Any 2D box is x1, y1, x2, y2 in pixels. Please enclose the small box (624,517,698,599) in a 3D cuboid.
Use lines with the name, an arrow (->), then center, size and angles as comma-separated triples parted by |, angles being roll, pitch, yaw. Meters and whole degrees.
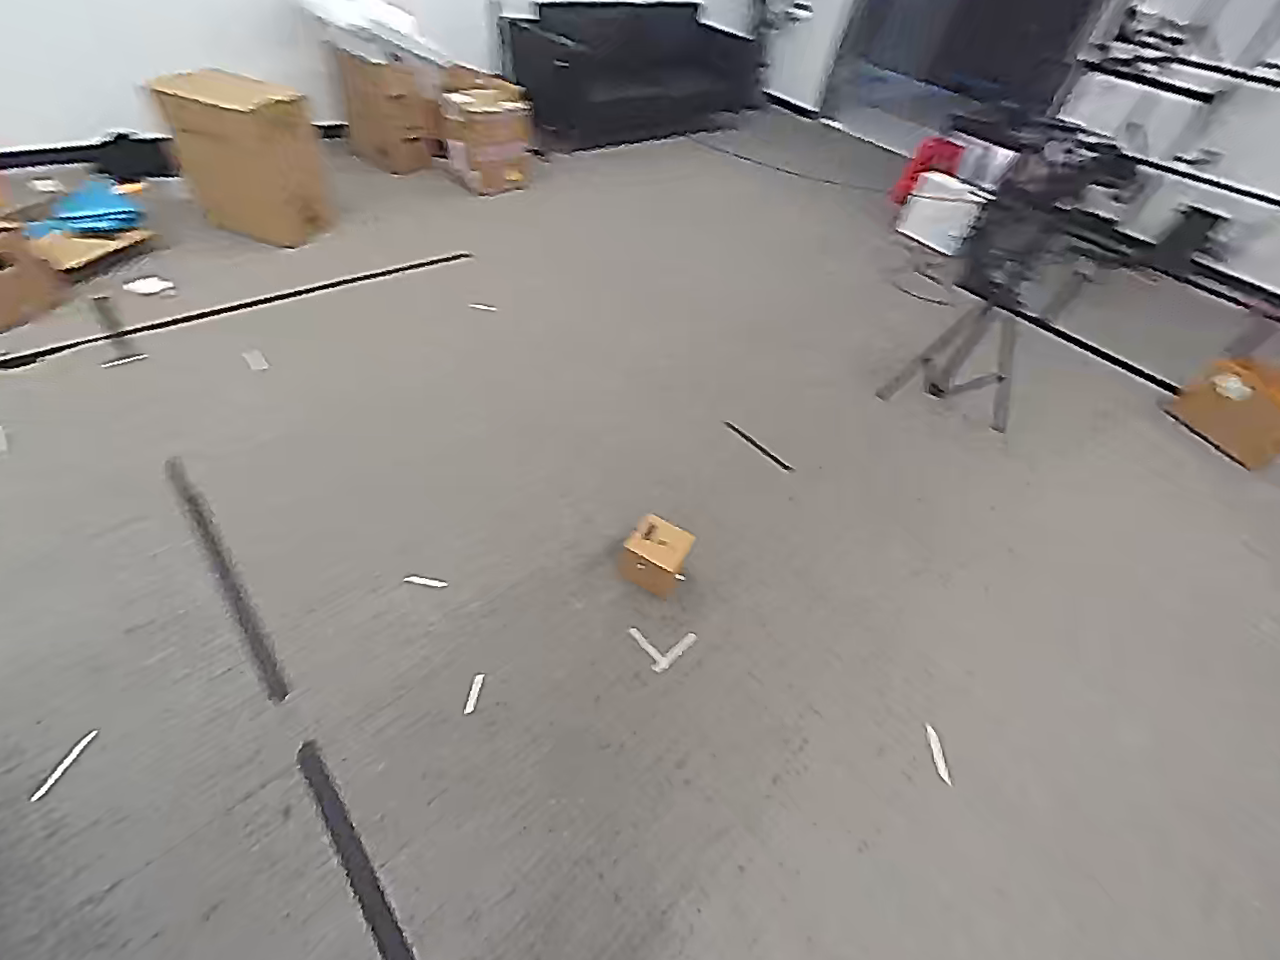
small box -> 0.062, 0.259, 1.767 | 0.179, 0.176, 0.168 | 28, 49, 14
